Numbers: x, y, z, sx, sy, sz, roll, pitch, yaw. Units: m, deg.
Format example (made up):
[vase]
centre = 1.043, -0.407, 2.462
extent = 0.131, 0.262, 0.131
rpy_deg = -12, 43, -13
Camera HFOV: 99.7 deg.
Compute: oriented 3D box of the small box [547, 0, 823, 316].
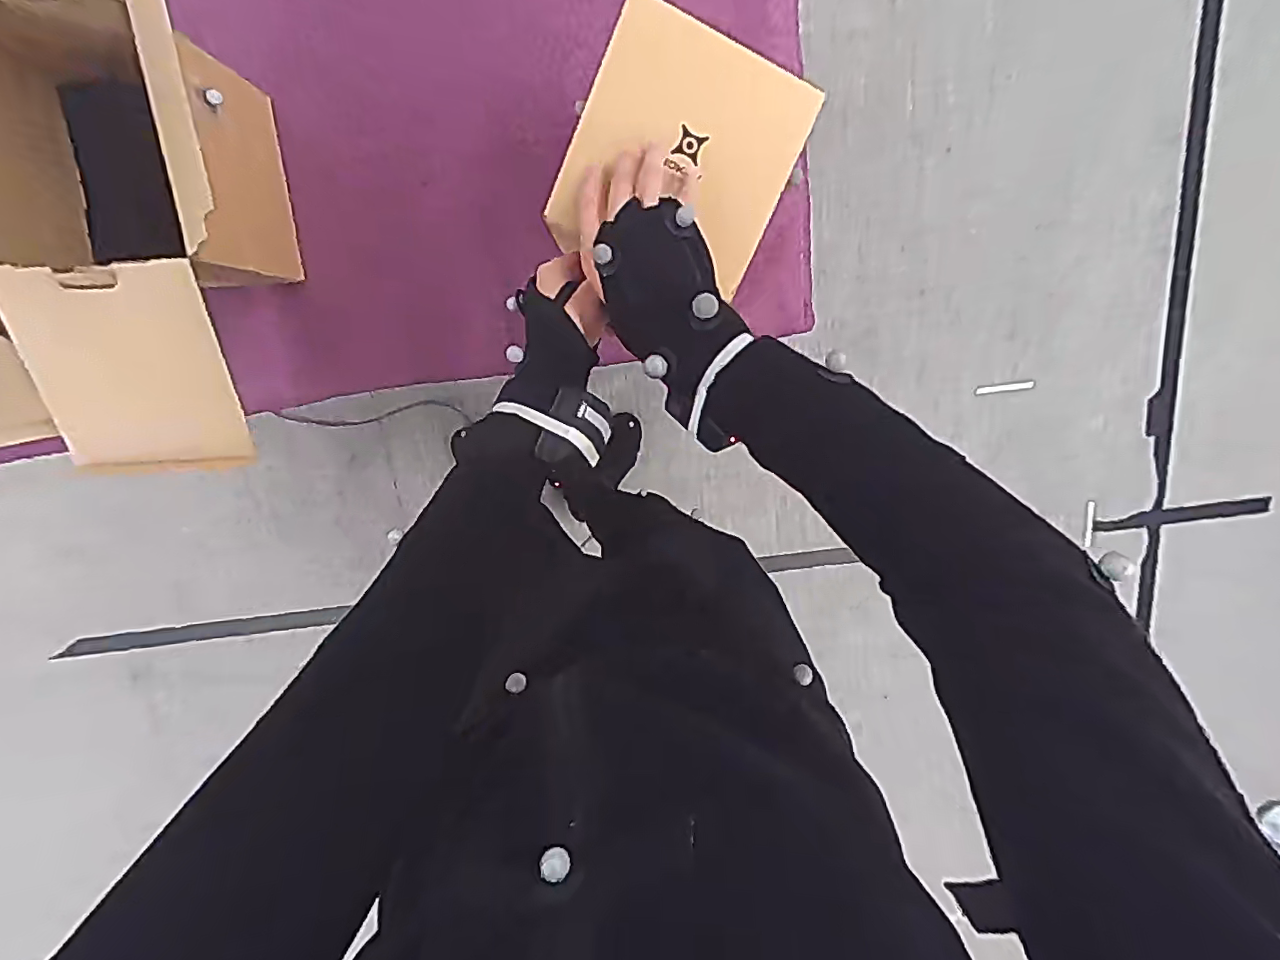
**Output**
[small box]
centre = 0.029, -0.269, 0.499
extent = 0.168, 0.176, 0.179
rpy_deg = 25, 101, -8
